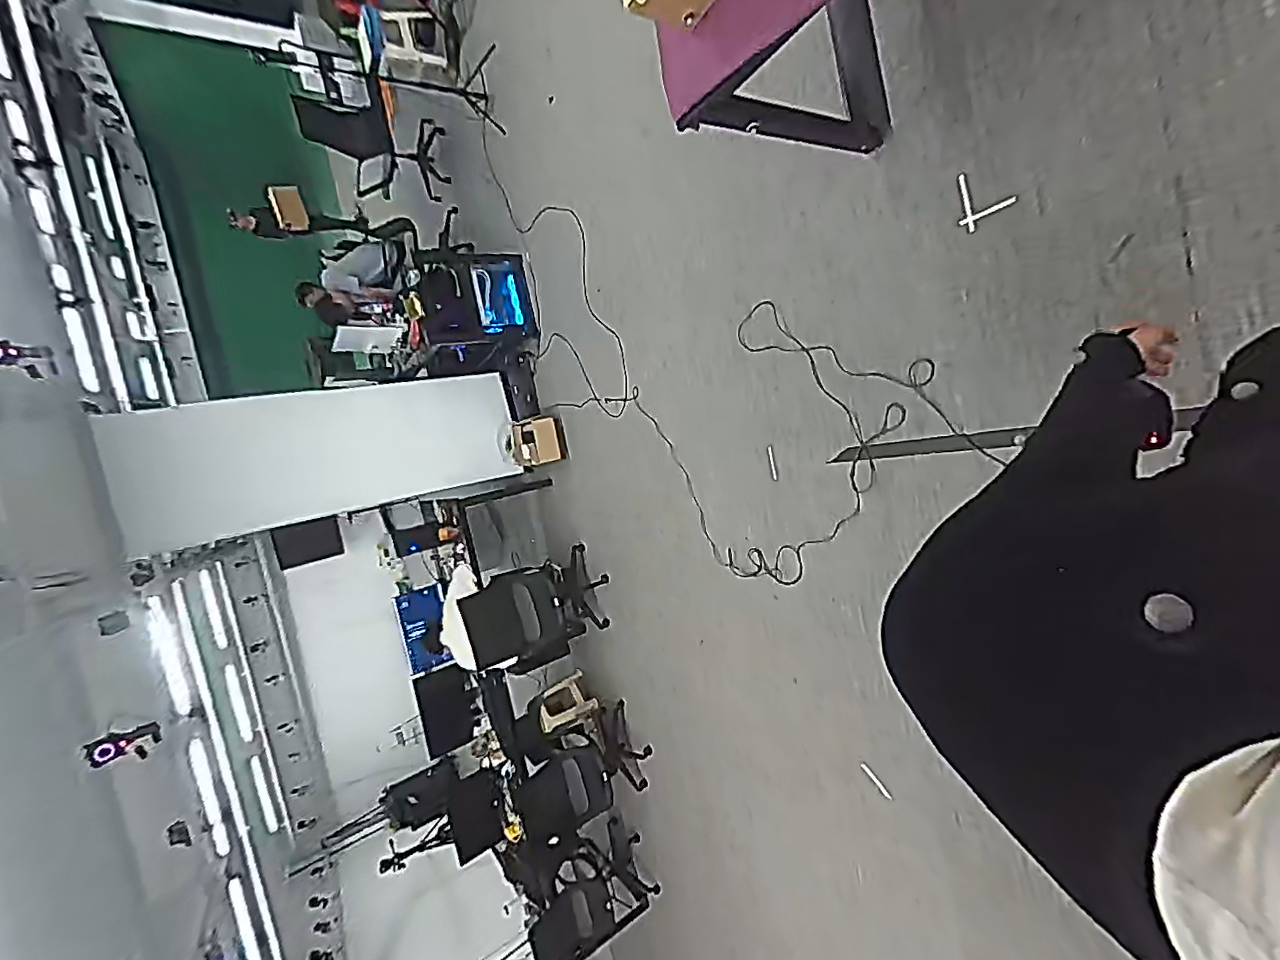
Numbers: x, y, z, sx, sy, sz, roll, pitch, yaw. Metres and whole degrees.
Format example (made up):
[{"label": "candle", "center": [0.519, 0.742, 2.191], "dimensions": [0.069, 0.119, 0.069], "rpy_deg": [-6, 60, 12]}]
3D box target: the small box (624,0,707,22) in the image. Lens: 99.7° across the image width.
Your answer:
[{"label": "small box", "center": [0.064, -1.036, 1.042], "dimensions": [0.168, 0.176, 0.179], "rpy_deg": [-9, 93, 57]}]
